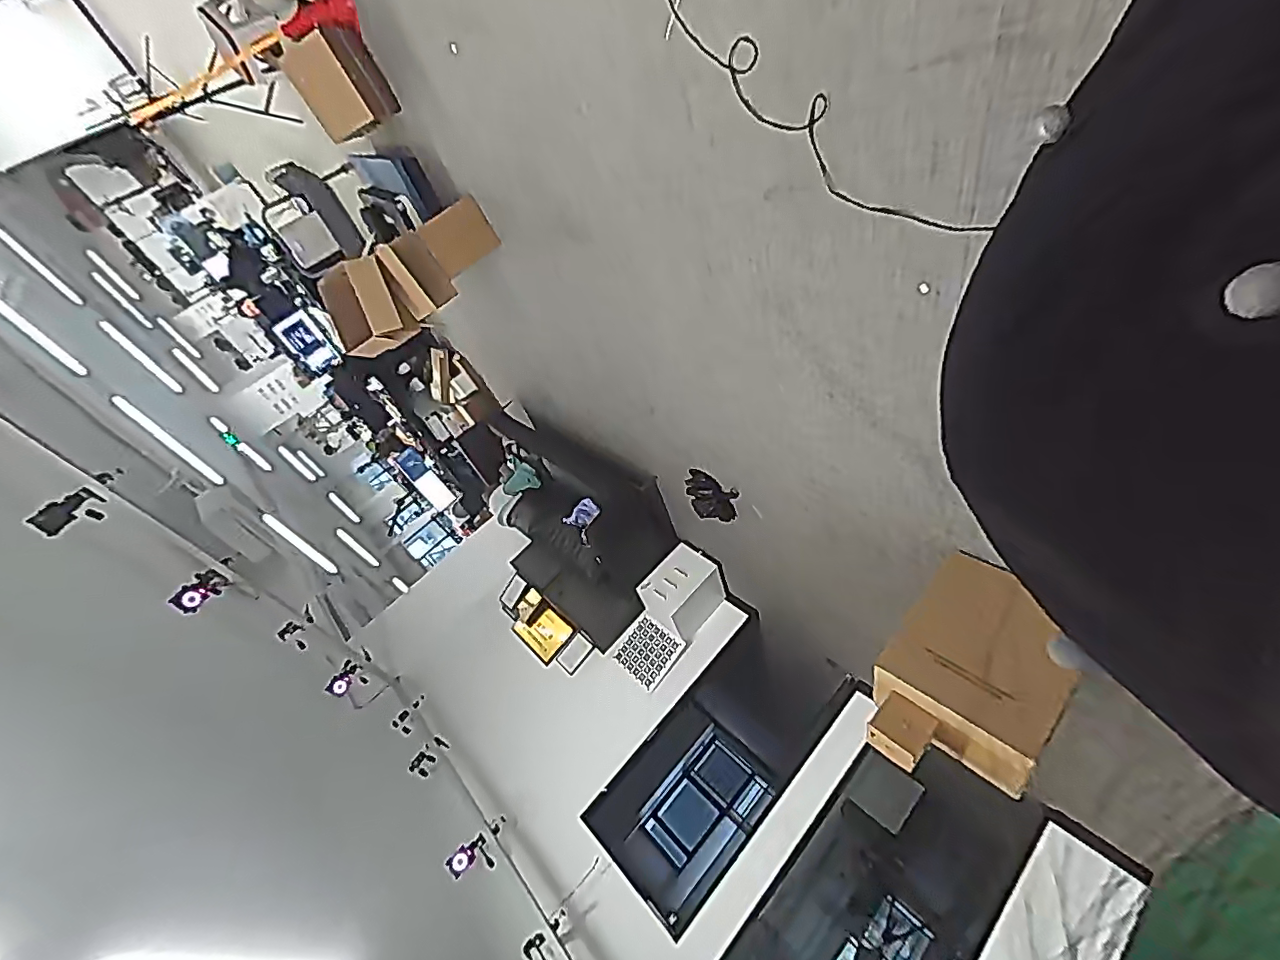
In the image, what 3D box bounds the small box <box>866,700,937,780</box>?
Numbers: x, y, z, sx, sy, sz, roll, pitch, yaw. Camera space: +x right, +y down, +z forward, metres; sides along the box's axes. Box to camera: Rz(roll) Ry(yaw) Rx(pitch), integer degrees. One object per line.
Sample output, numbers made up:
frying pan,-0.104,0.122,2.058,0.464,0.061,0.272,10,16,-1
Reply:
small box,0.953,0.942,1.973,0.179,0.176,0.168,29,148,39
